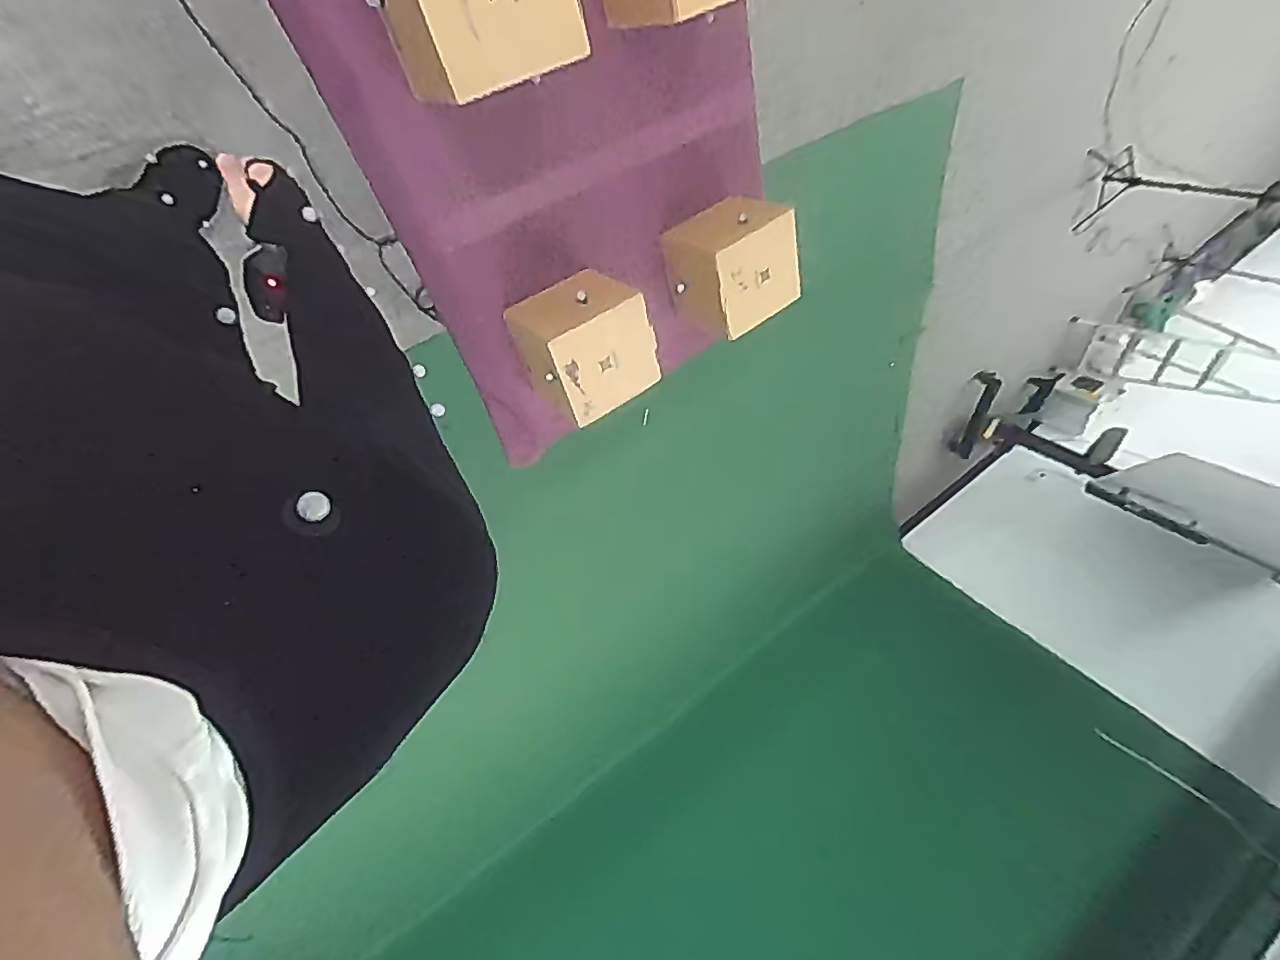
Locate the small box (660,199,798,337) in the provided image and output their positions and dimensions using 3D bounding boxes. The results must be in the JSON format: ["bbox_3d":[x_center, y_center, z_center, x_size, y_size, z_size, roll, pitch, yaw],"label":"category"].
[{"bbox_3d":[0.165,-0.398,0.998,0.179,0.176,0.168,-34,134,-14],"label":"small box"}]

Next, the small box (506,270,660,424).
[{"bbox_3d":[-0.094,-0.232,0.913,0.179,0.176,0.168,-34,136,-18],"label":"small box"}]

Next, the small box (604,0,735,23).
[{"bbox_3d":[0.055,-0.704,0.680,0.179,0.176,0.168,-33,137,-14],"label":"small box"}]
